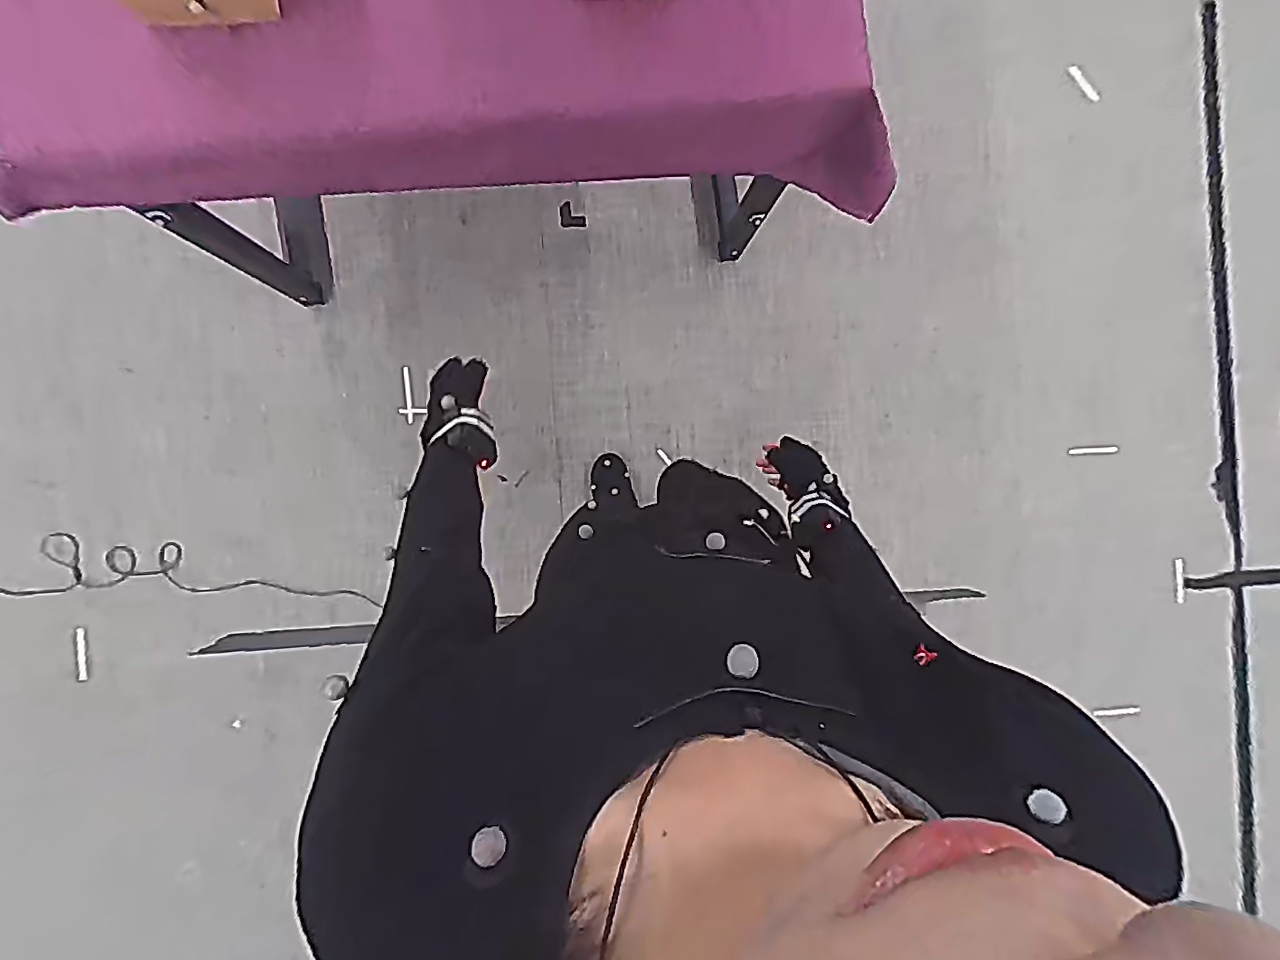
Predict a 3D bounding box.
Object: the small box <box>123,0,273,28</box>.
[{"bbox_3d":[-0.574,-0.692,0.649,0.179,0.176,0.168,-7,91,-5],"label":"small box"}]
